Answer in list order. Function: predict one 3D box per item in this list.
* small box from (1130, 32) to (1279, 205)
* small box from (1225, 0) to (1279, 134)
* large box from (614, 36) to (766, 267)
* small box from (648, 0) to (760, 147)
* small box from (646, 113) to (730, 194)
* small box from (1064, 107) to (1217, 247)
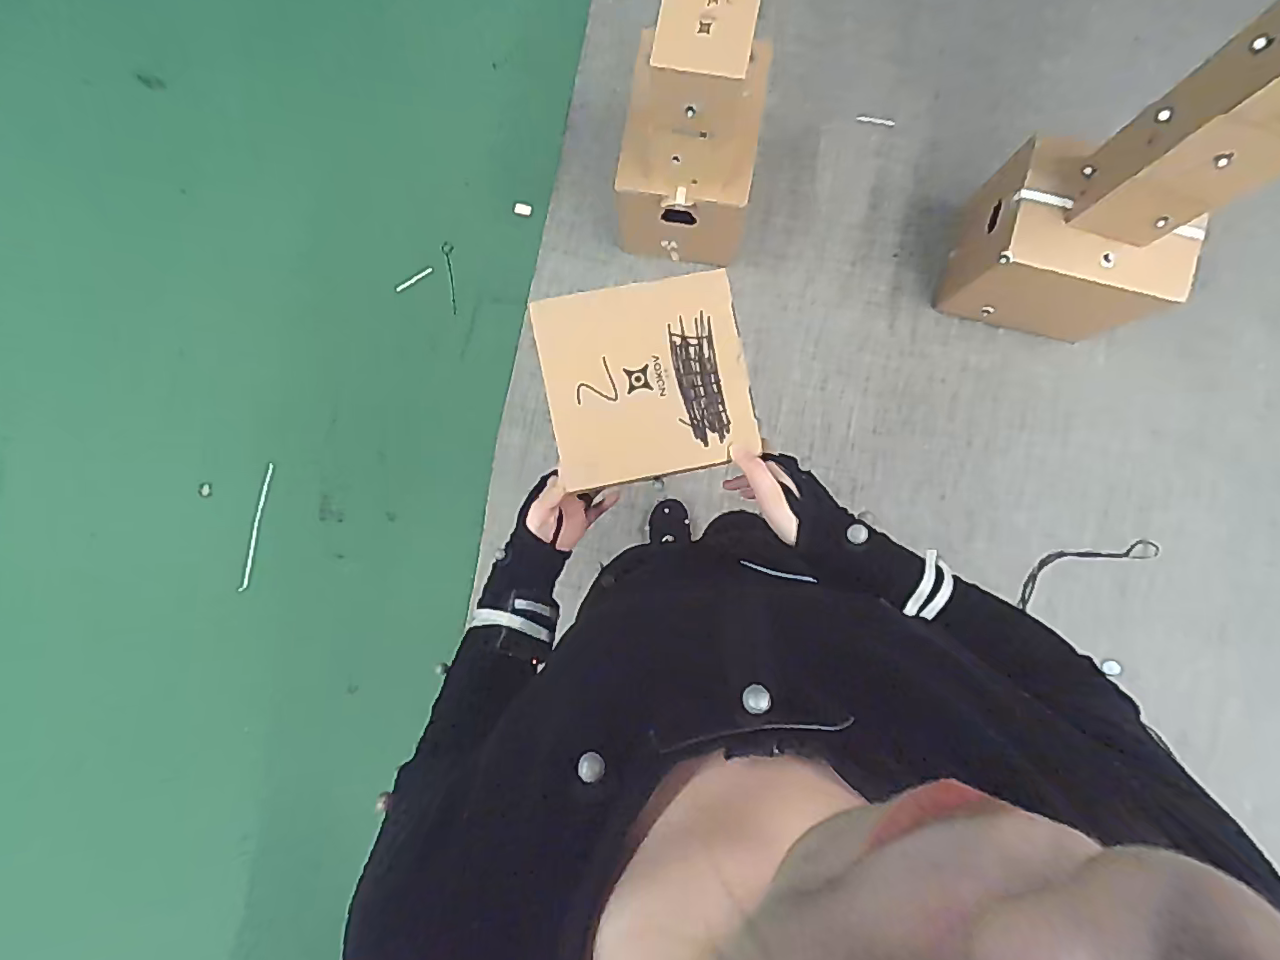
[{"bbox_3d":[1.037,-0.620,0.951,0.179,0.176,0.168,20,86,4],"label":"small box"},{"bbox_3d":[1.031,-0.637,0.788,0.168,0.176,0.179,19,86,3],"label":"small box"},{"bbox_3d":[0.125,-0.823,1.406,0.320,0.320,0.408,9,86,3],"label":"large box"},{"bbox_3d":[0.113,-0.754,0.993,0.168,0.176,0.179,11,87,2],"label":"small box"},{"bbox_3d":[0.112,-0.748,1.158,0.168,0.176,0.179,11,86,3],"label":"small box"},{"bbox_3d":[1.040,-0.611,1.115,0.179,0.176,0.168,19,86,3],"label":"small box"}]
